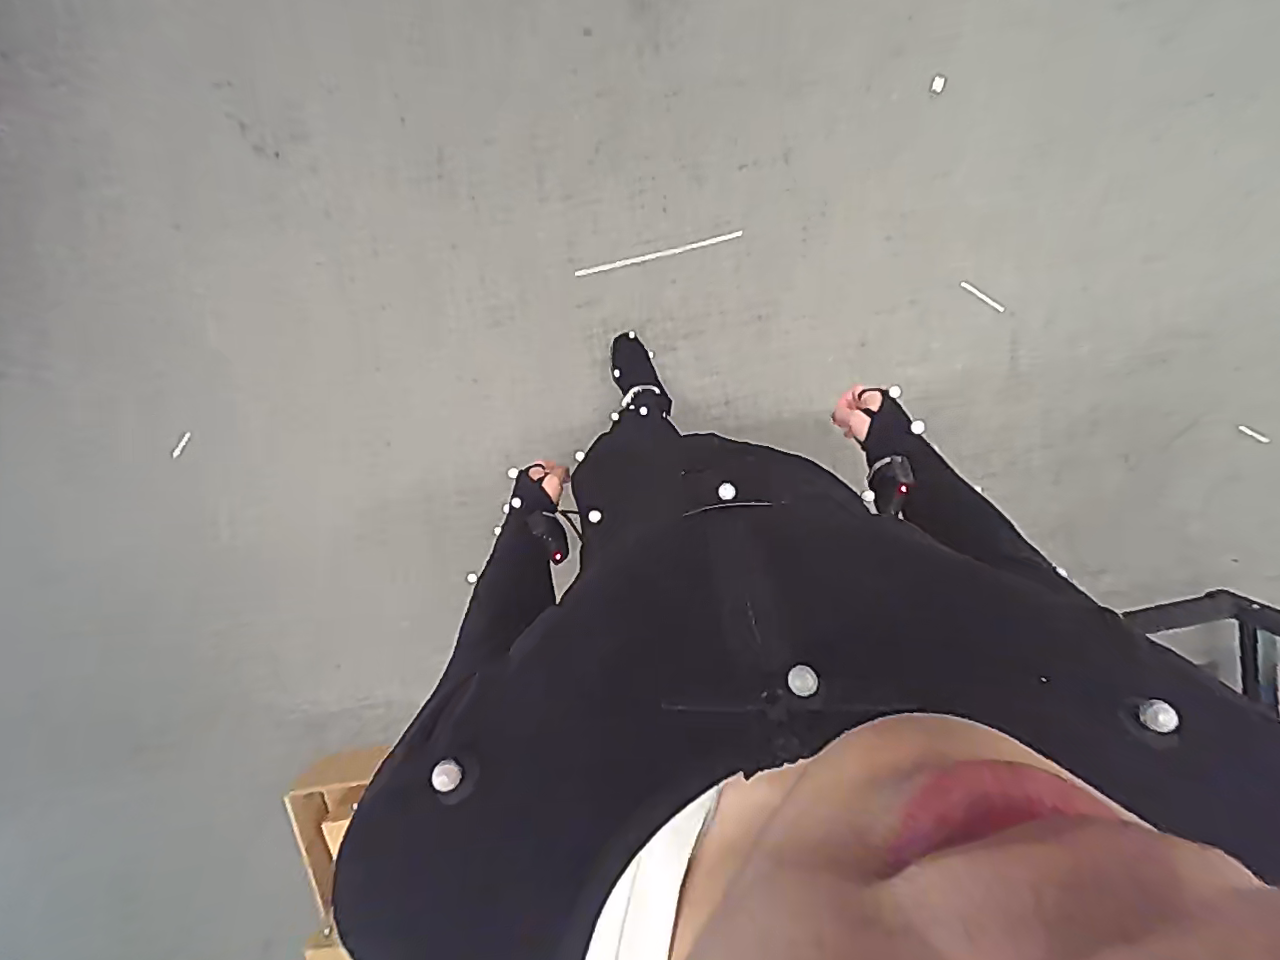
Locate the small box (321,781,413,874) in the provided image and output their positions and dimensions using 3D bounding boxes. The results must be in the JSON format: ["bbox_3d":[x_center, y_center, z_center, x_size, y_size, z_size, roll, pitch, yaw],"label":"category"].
[{"bbox_3d":[-0.851,1.085,1.700,0.179,0.176,0.168,-13,99,3],"label":"small box"}]

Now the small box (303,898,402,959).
[{"bbox_3d":[-0.830,1.366,1.574,0.179,0.176,0.168,-9,98,3],"label":"small box"}]
